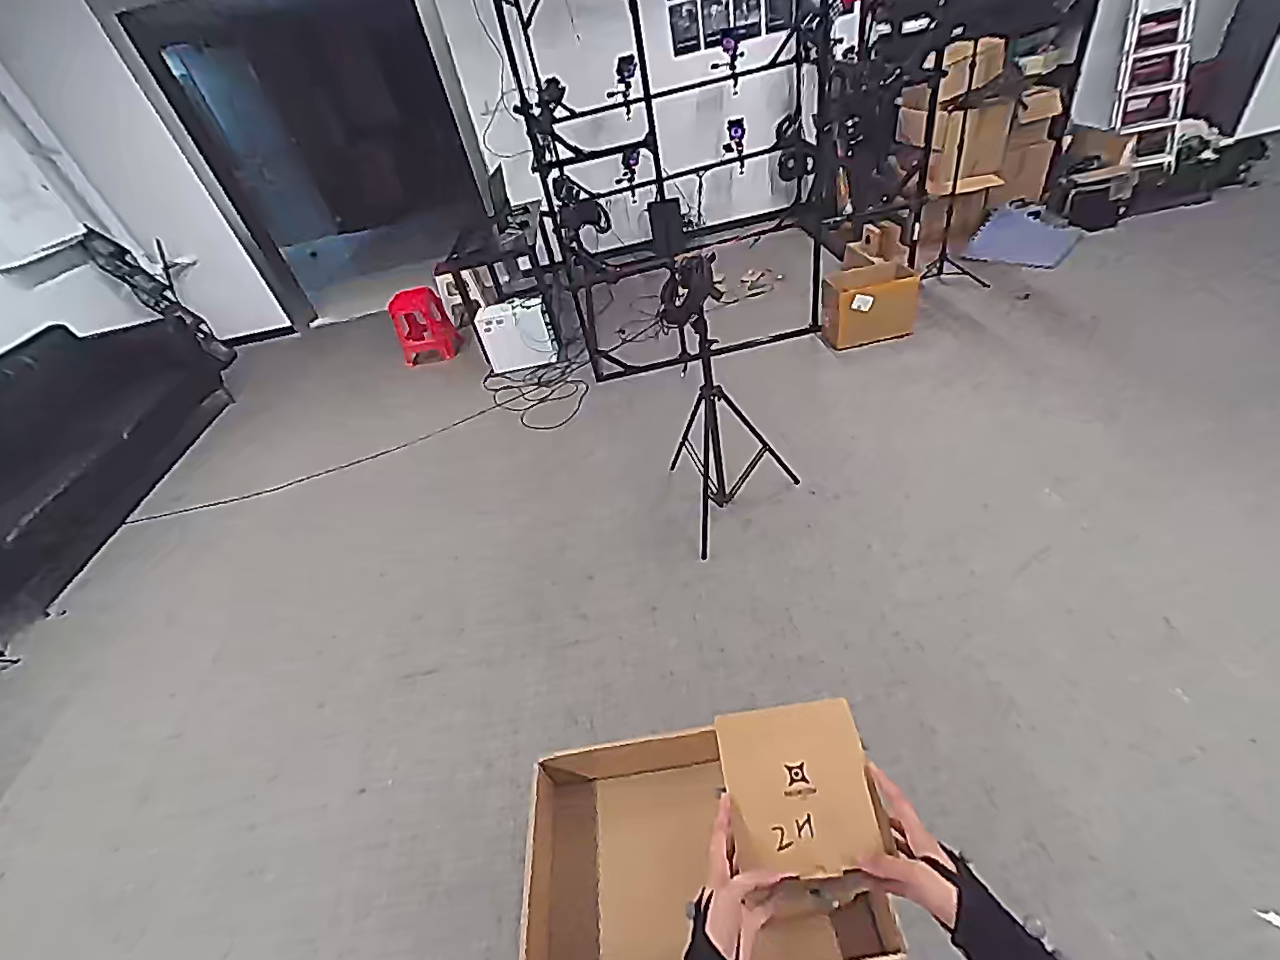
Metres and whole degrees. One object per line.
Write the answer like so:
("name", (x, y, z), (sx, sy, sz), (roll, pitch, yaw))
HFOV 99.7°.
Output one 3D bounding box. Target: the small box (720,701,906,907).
("small box", (0.198, 0.400, 0.665), (0.168, 0.176, 0.179), (-12, 47, 5))
